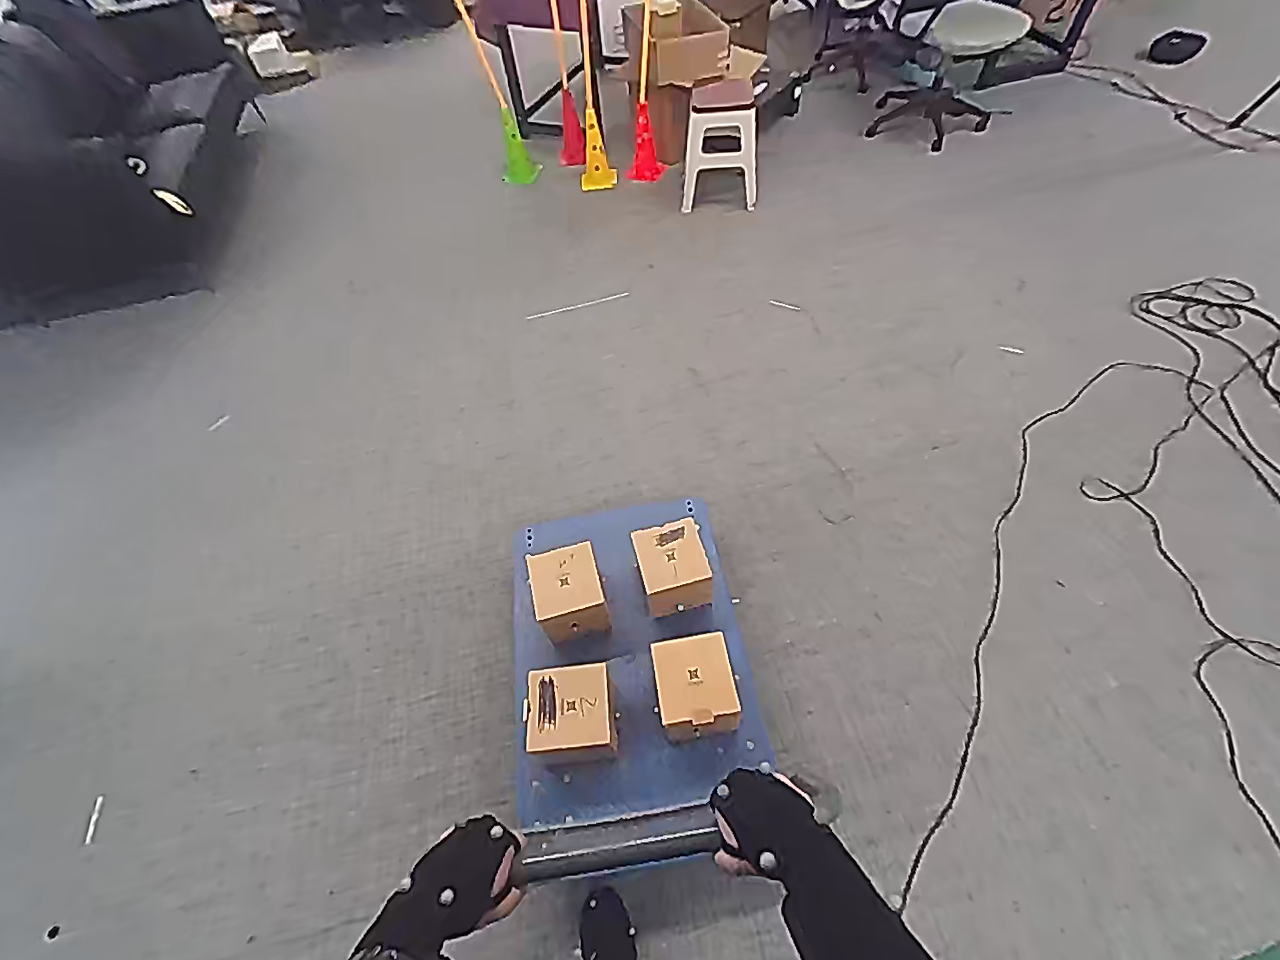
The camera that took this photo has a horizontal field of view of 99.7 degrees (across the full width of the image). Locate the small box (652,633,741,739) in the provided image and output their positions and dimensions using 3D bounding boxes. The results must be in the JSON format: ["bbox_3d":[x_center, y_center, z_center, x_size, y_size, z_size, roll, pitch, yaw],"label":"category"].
[{"bbox_3d":[0.123,0.469,1.227,0.168,0.176,0.179,-10,56,-2],"label":"small box"}]

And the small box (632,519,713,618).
[{"bbox_3d":[0.081,0.231,1.397,0.168,0.176,0.179,-15,56,-4],"label":"small box"}]

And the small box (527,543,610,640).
[{"bbox_3d":[-0.178,0.291,1.379,0.168,0.176,0.179,-14,55,-6],"label":"small box"}]
